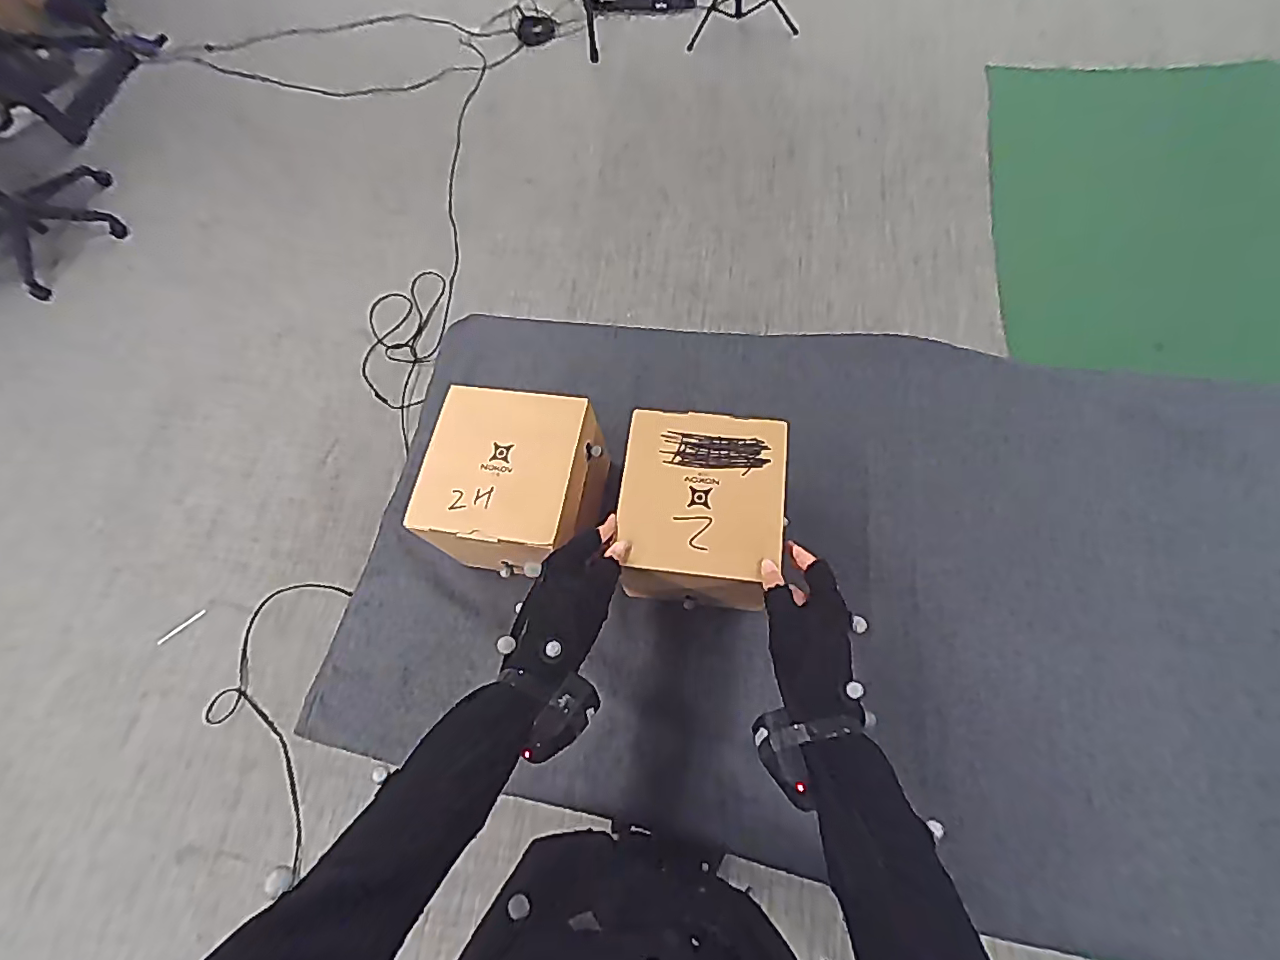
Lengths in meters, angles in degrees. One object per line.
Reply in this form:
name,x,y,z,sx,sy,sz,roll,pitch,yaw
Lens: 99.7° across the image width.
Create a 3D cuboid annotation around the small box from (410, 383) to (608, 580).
small box,-0.140,0.008,0.655,0.168,0.176,0.179,7,68,9
